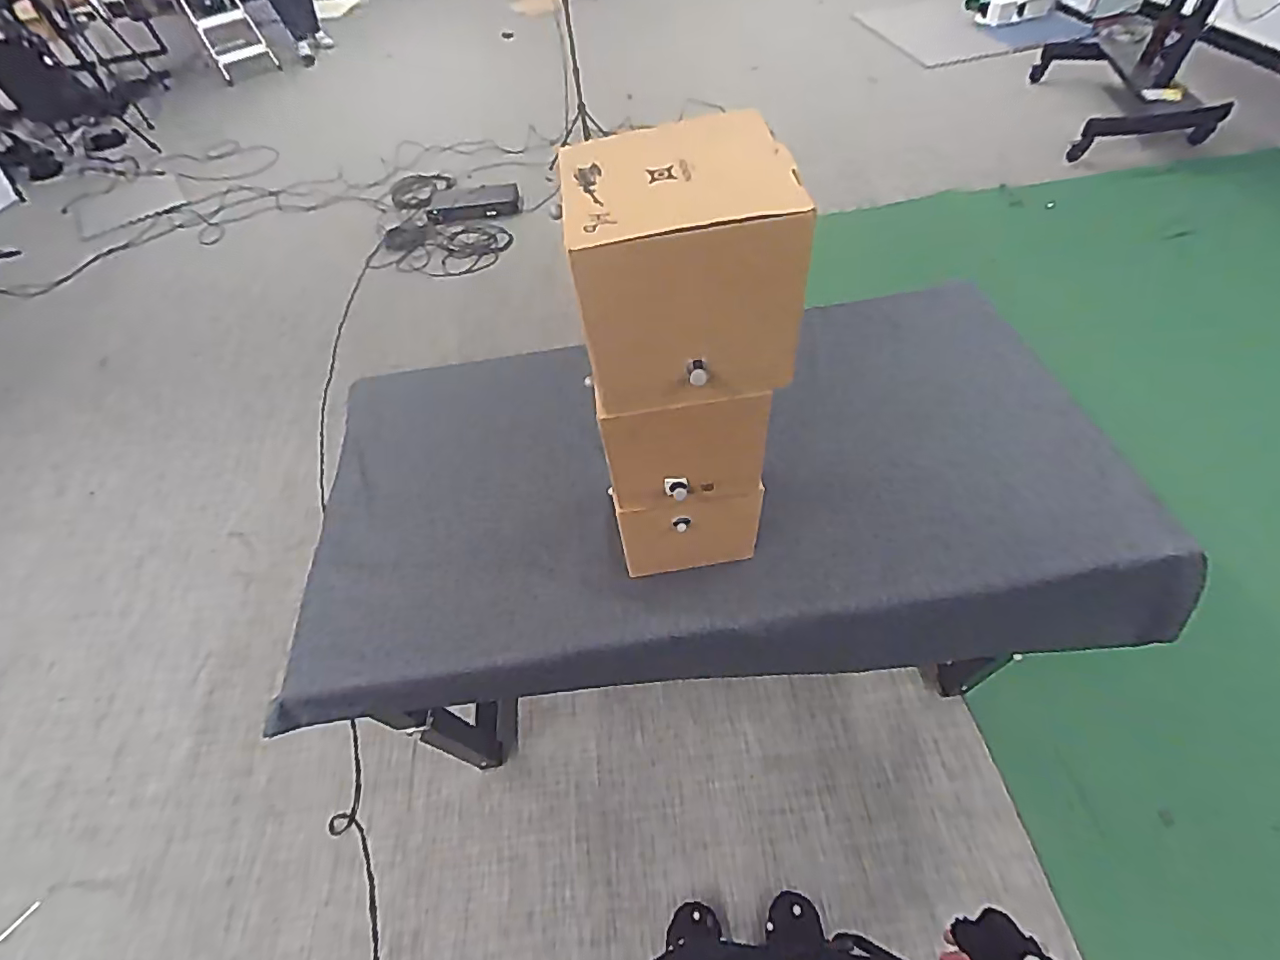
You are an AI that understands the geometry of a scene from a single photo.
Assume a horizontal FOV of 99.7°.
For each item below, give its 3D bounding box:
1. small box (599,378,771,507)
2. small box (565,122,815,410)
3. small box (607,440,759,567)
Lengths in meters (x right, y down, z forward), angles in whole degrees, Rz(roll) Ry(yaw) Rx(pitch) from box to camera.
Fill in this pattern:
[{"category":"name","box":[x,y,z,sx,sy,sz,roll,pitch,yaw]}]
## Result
[{"category":"small box","box":[0.042,-0.092,0.620,0.168,0.176,0.179,-9,55,1]},{"category":"small box","box":[0.035,-0.185,0.485,0.179,0.176,0.168,-8,53,1]},{"category":"small box","box":[0.055,0.005,0.749,0.179,0.176,0.168,-9,54,-1]}]
